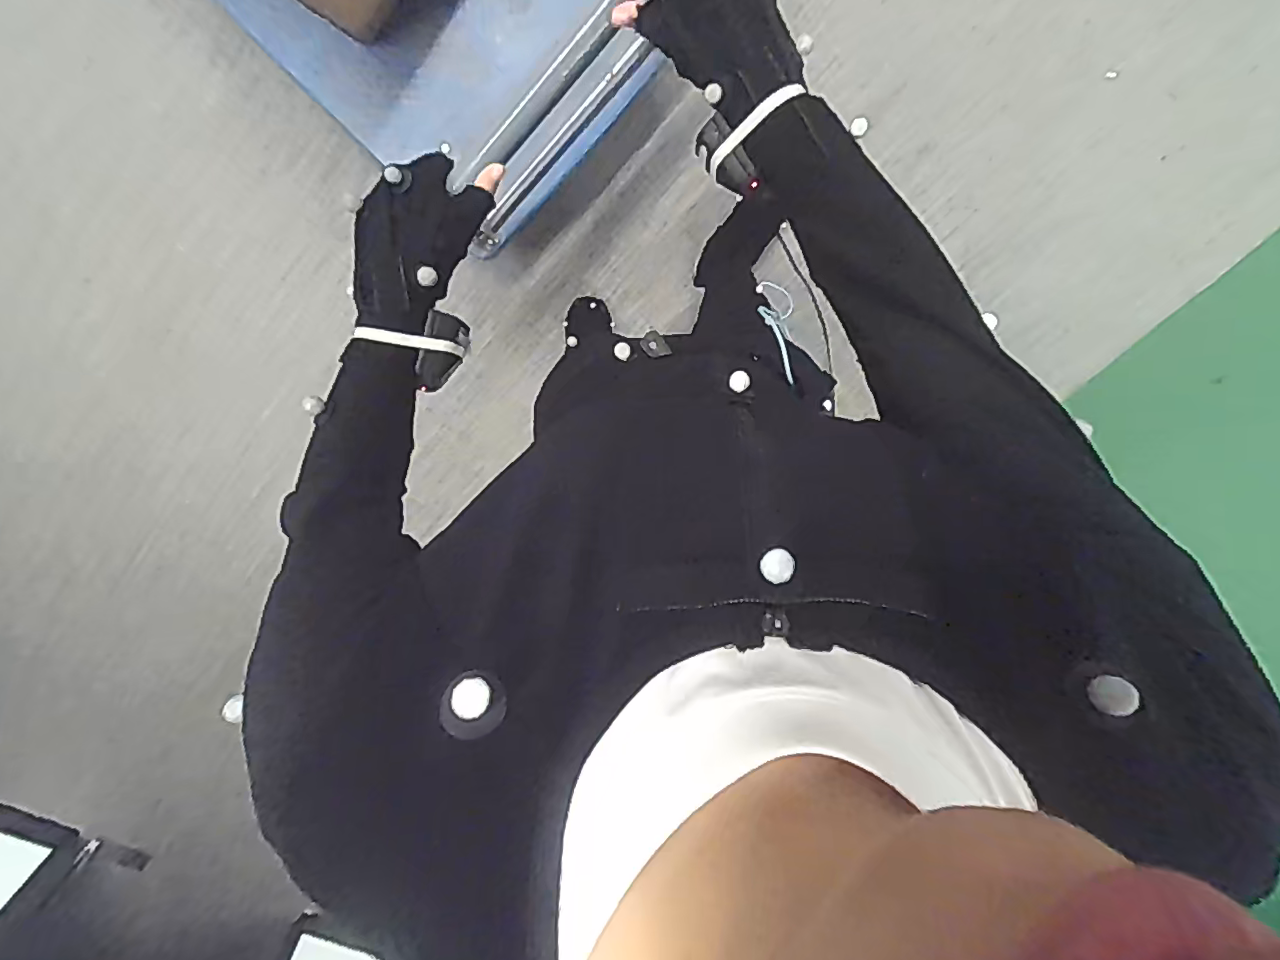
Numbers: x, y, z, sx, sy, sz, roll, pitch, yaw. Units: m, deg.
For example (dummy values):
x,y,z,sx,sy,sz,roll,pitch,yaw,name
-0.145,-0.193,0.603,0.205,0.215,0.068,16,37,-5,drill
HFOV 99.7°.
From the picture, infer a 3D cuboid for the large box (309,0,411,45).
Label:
x,y,z,sx,sy,sz,roll,pitch,yaw,name
-0.431,-0.931,0.730,0.320,0.320,0.408,41,109,-18,large box
